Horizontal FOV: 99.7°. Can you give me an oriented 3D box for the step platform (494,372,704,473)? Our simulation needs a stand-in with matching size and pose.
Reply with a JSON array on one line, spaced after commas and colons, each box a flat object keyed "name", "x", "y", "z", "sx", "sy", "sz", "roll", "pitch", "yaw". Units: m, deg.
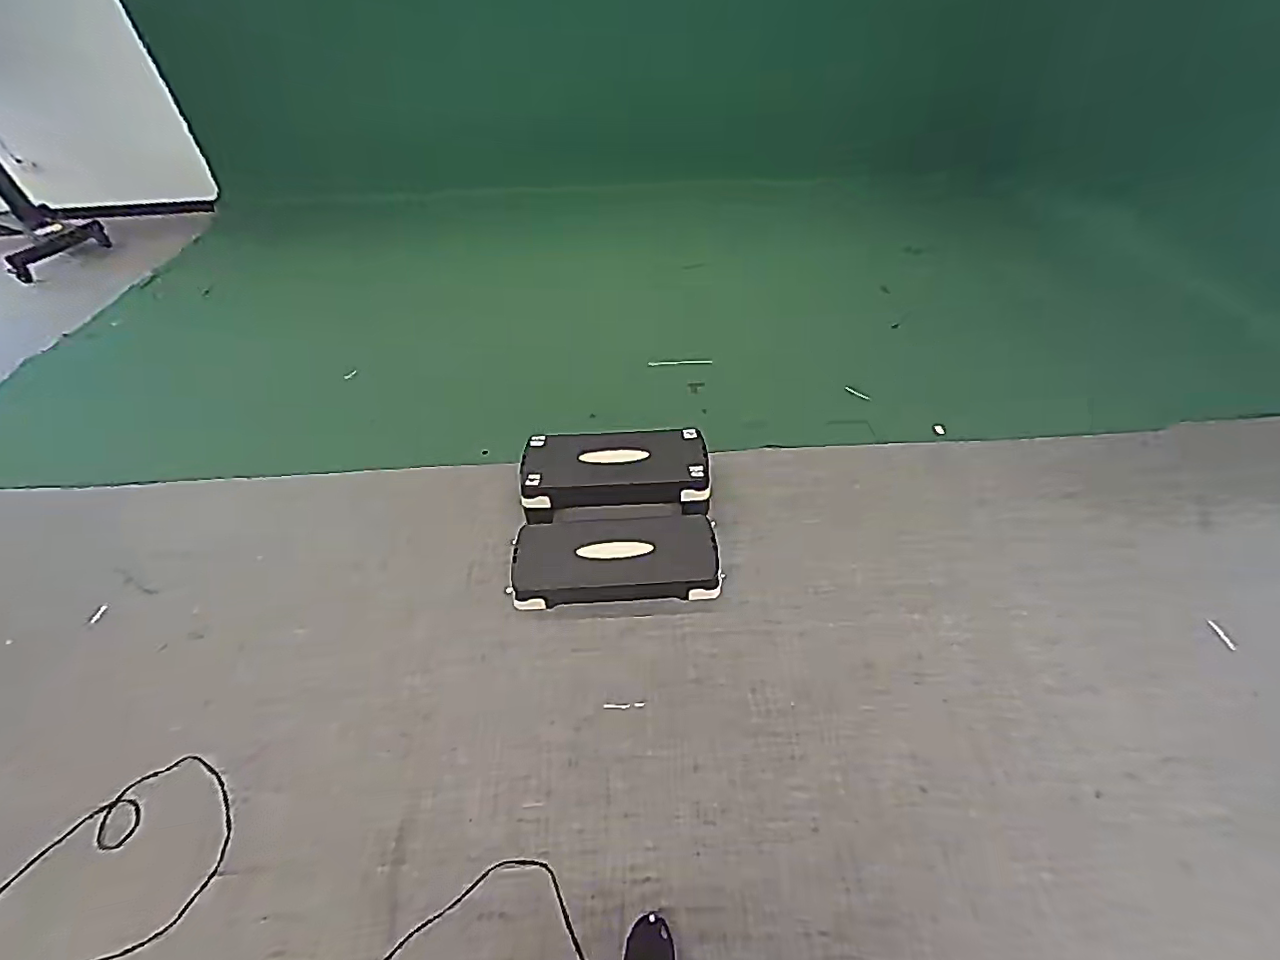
[{"name": "step platform", "x": -0.130, "y": -0.194, "z": 1.842, "sx": 0.684, "sy": 0.204, "sz": 0.286, "roll": -3, "pitch": 47, "yaw": 0}]
